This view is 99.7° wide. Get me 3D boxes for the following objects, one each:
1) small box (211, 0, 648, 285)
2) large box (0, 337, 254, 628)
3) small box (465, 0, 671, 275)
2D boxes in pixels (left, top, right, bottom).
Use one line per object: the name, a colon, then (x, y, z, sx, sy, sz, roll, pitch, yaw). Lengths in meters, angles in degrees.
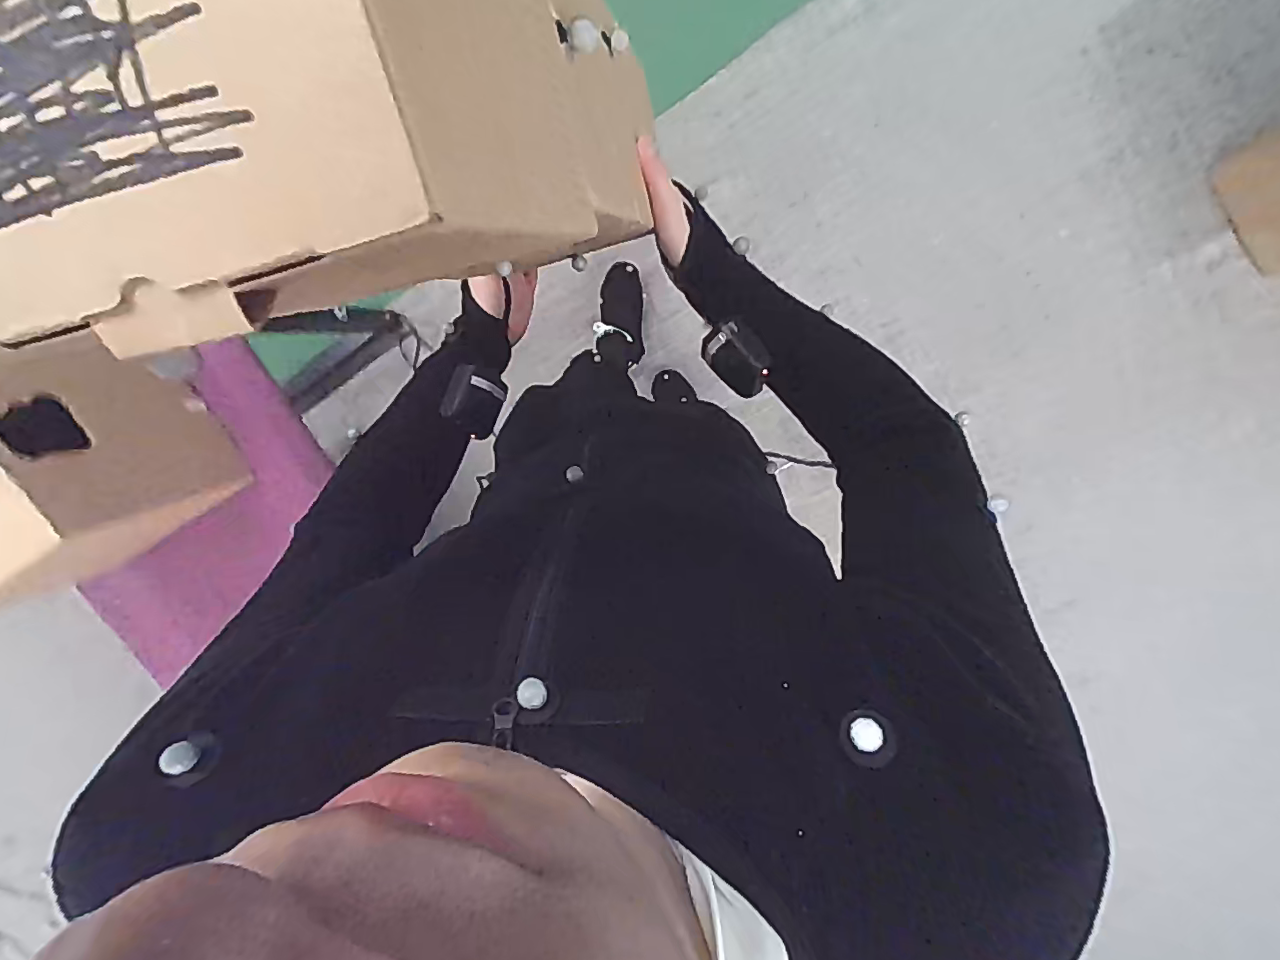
small box: (-0.098, -0.227, 0.320, 0.168, 0.176, 0.179, -10, 113, 12)
large box: (-0.956, 0.010, 0.863, 0.408, 0.320, 0.320, -29, 101, 13)
small box: (-0.074, -0.288, 0.468, 0.168, 0.176, 0.179, -10, 111, 13)
